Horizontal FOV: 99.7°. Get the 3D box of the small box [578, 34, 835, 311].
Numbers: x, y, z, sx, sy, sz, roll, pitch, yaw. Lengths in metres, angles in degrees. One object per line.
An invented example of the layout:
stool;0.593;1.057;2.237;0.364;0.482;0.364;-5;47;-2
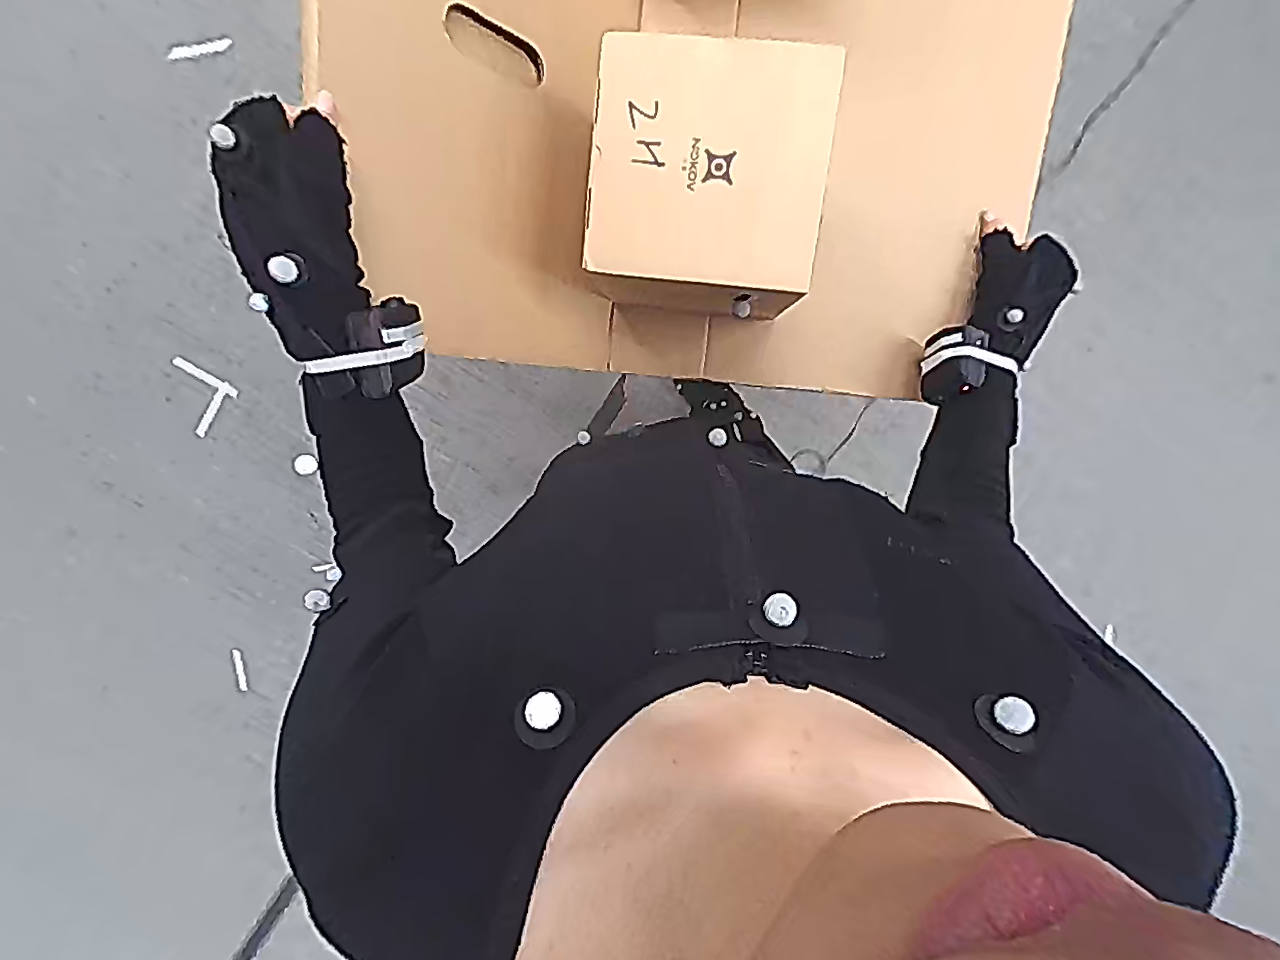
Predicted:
small box;0.053;-0.251;0.484;0.179;0.176;0.168;7;100;4
